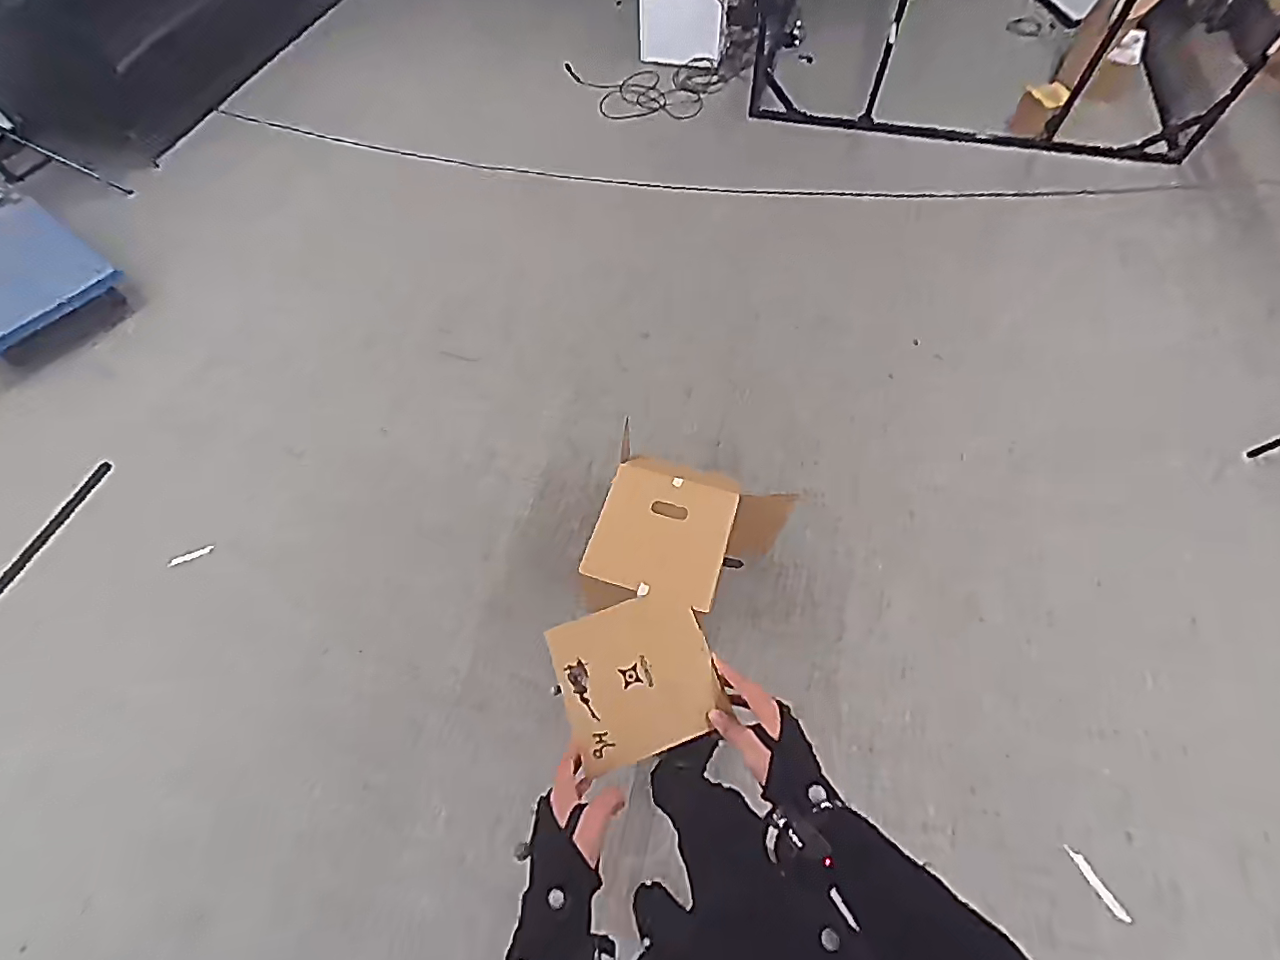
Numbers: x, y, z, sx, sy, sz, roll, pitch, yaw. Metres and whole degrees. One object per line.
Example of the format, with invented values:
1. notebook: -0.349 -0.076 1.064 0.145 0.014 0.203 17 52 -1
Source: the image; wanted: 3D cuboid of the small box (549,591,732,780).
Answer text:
1. small box: -0.005 0.260 0.698 0.179 0.176 0.168 -18 69 -9
